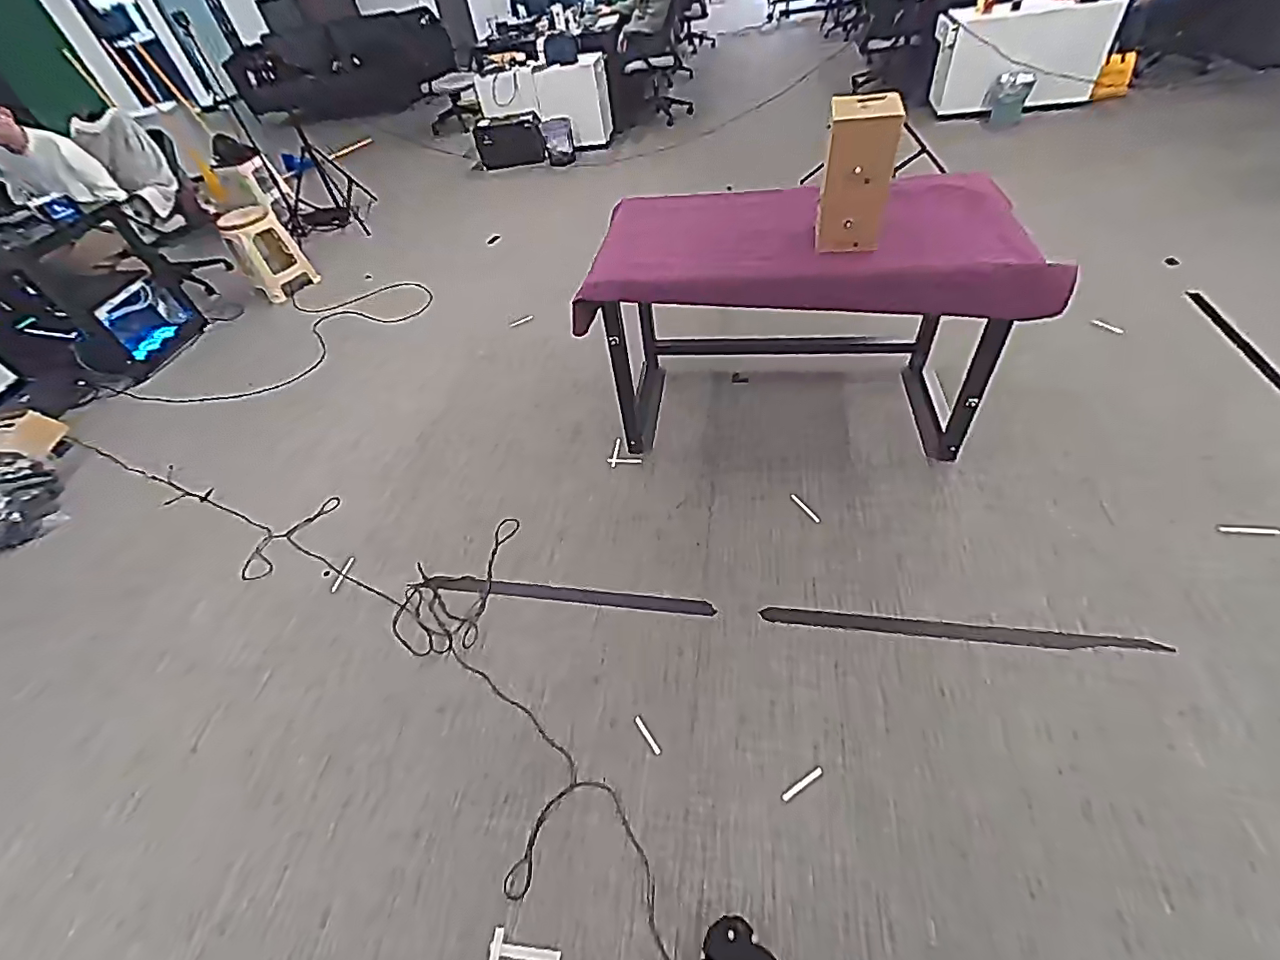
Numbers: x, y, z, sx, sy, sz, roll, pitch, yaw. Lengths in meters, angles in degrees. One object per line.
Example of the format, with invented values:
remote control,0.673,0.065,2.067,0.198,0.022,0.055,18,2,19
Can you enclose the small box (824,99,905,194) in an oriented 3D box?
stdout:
small box,0.577,-0.869,1.413,0.168,0.176,0.179,4,49,13

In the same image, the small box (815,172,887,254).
small box,0.593,-0.756,1.531,0.168,0.176,0.179,5,48,13
